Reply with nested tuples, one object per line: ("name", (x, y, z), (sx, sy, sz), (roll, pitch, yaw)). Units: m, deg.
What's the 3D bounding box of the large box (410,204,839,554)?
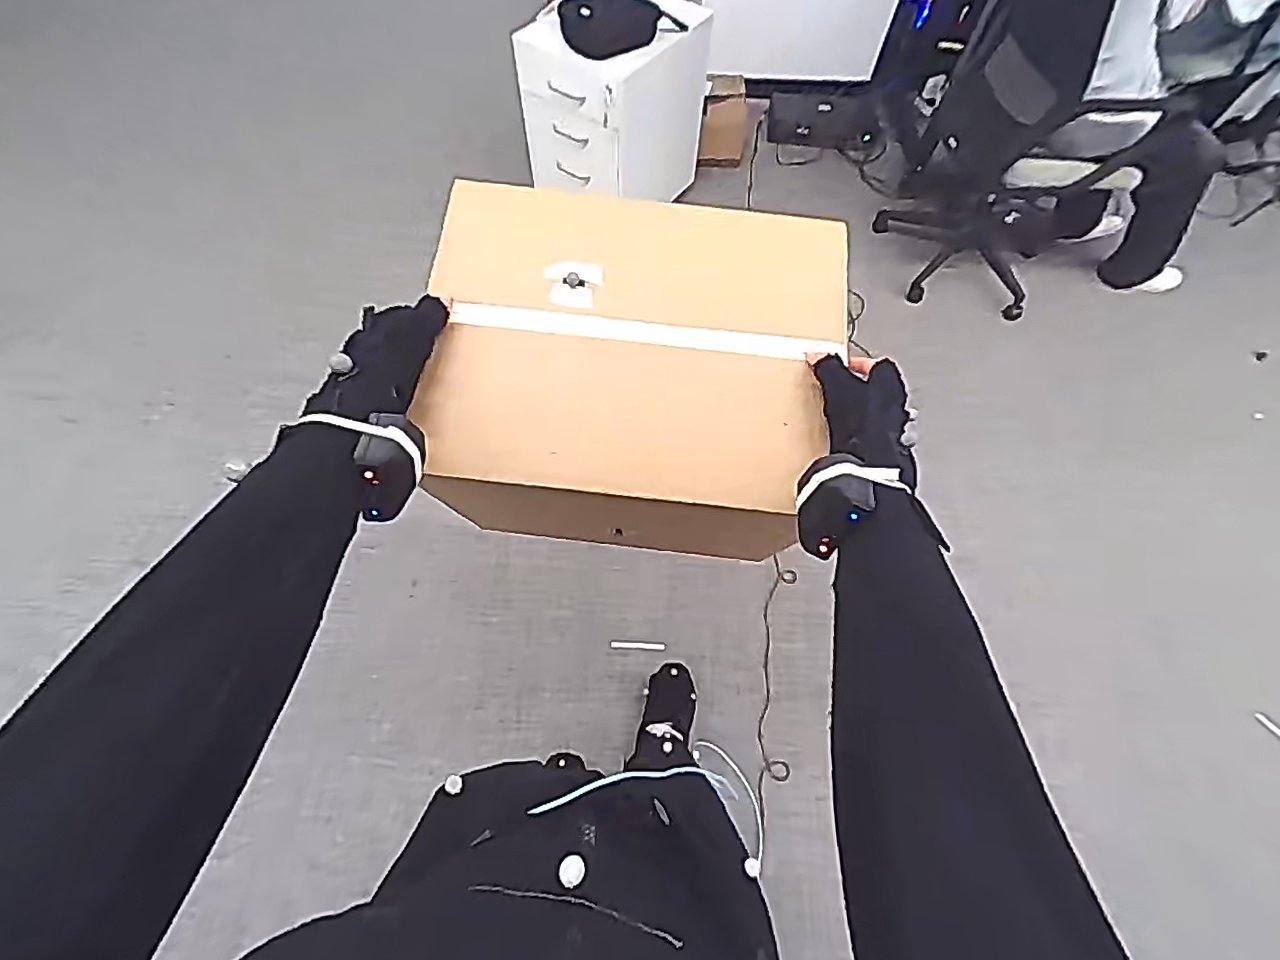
("large box", (-0.003, -0.092, 0.676), (0.408, 0.320, 0.320), (6, 74, 1))
